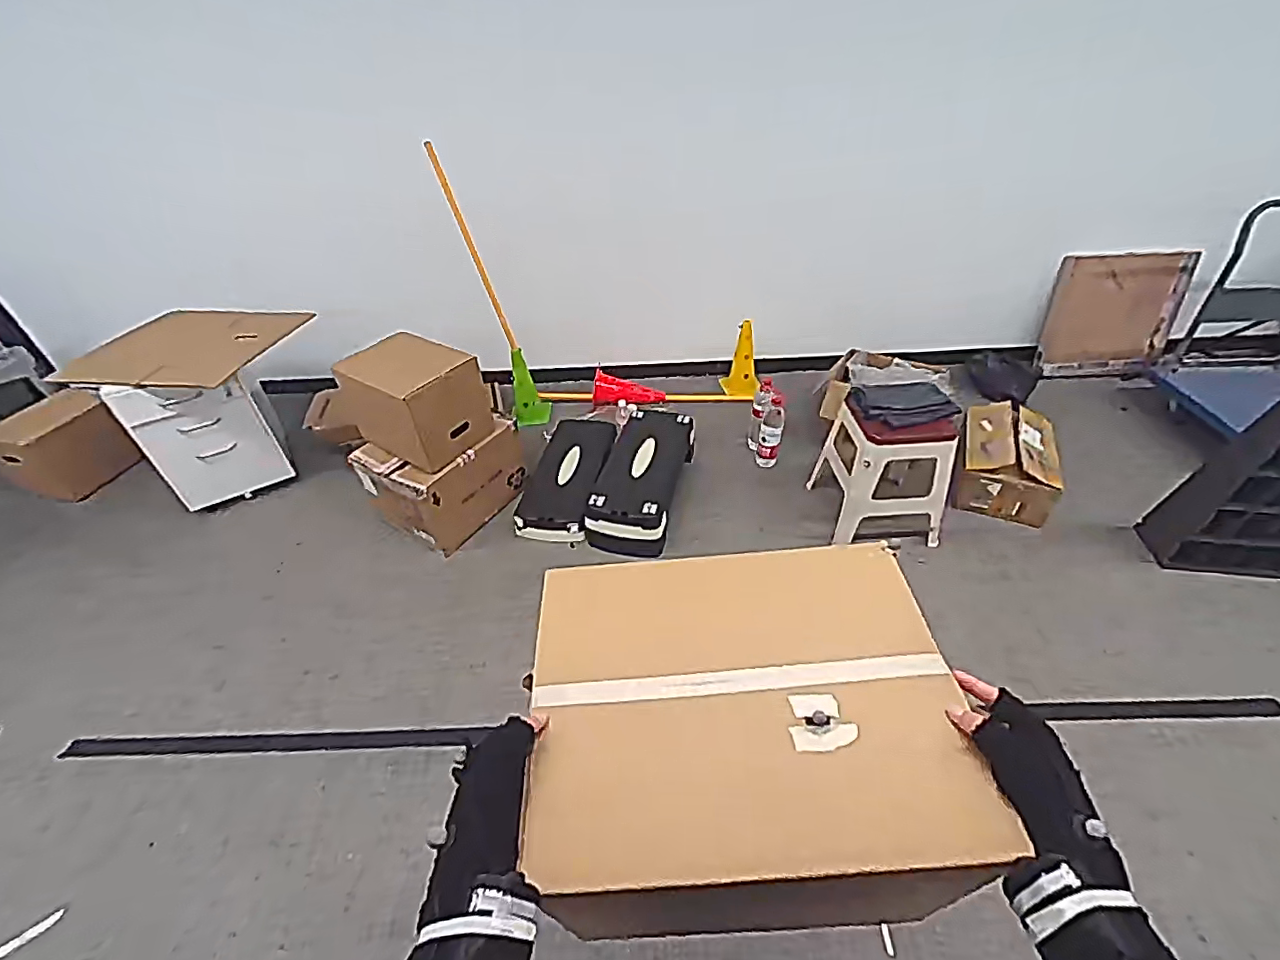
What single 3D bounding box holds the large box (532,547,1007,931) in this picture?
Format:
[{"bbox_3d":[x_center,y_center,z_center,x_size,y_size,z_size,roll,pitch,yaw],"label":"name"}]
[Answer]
[{"bbox_3d":[0.108,0.311,0.651,0.408,0.320,0.320,-5,45,1],"label":"large box"}]
